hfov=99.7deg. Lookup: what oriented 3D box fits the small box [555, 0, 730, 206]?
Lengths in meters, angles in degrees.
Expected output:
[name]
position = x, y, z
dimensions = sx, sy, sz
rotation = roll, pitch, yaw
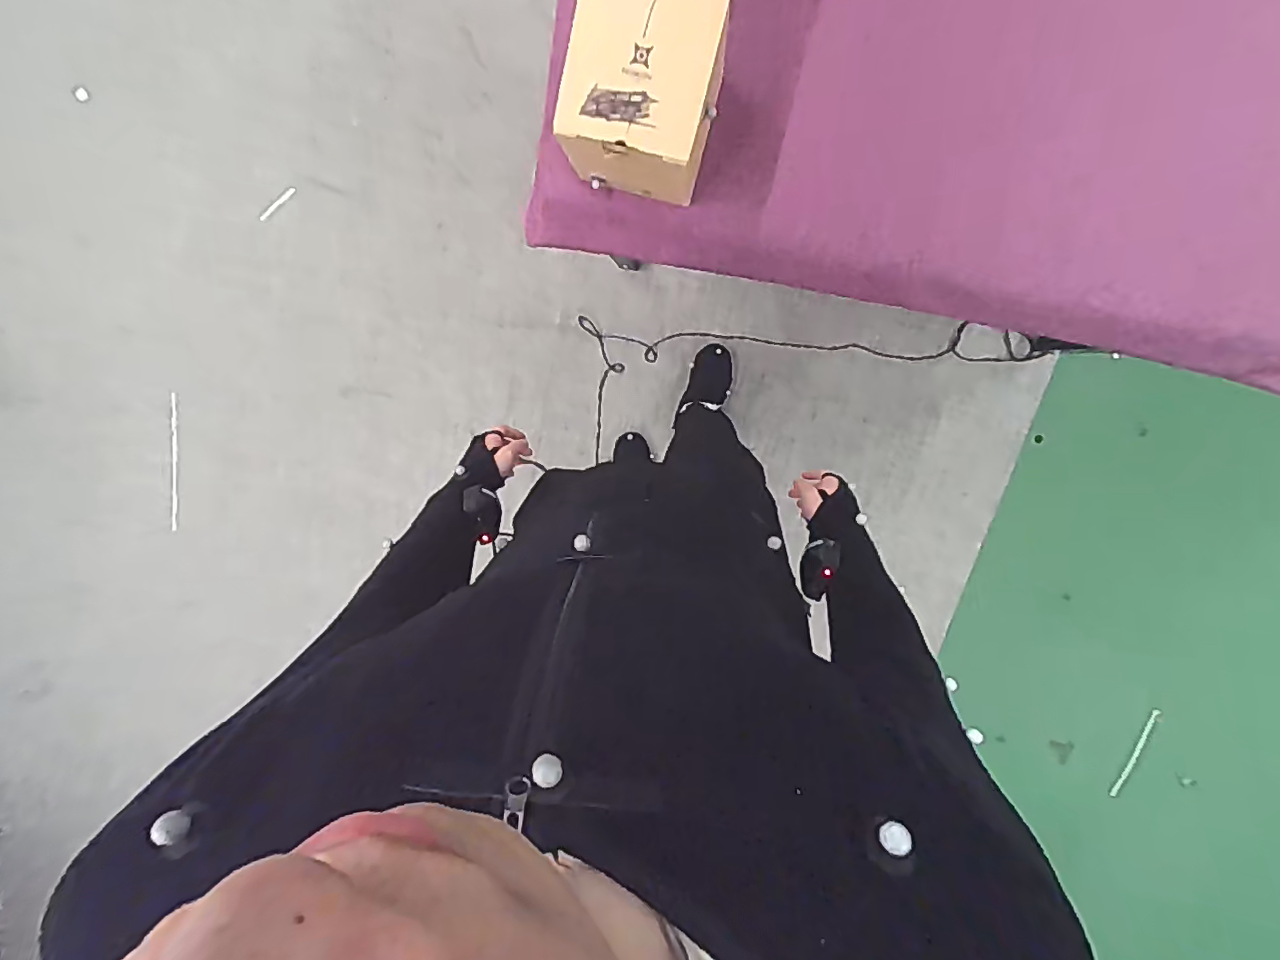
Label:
[small box]
position = 0.008, -0.472, 0.683
dimensions = 0.168, 0.176, 0.179
rotation = 15, 102, 2
